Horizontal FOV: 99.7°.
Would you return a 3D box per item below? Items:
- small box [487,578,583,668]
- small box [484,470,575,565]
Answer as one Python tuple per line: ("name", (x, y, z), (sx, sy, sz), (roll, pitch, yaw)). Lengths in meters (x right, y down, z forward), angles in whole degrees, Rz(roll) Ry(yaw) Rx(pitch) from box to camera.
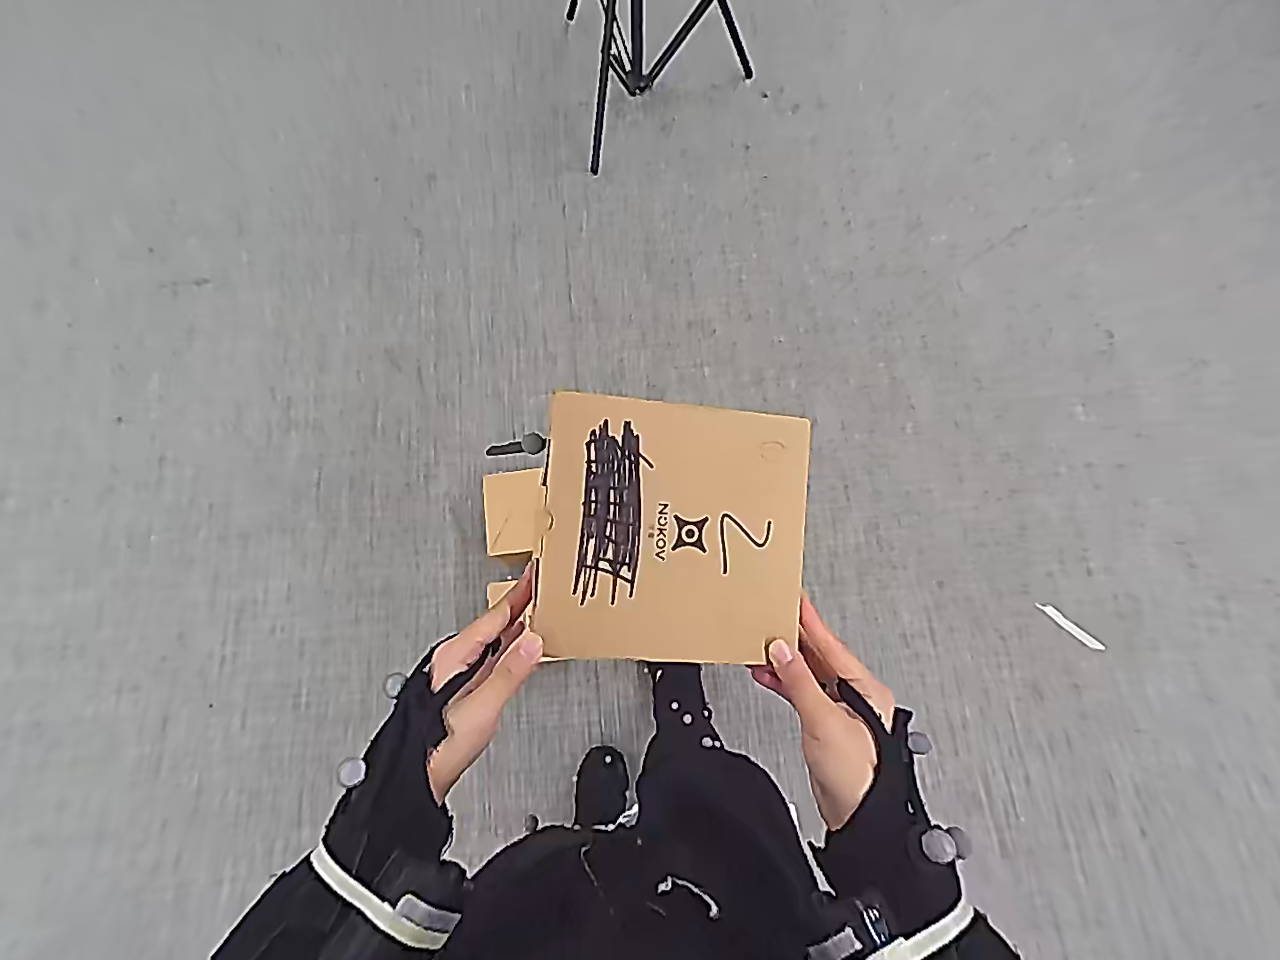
("small box", (-0.217, 0.303, 1.159), (0.179, 0.176, 0.168), (-6, 75, -1))
("small box", (-0.244, 0.086, 1.210), (0.168, 0.176, 0.179), (-8, 75, -2))
